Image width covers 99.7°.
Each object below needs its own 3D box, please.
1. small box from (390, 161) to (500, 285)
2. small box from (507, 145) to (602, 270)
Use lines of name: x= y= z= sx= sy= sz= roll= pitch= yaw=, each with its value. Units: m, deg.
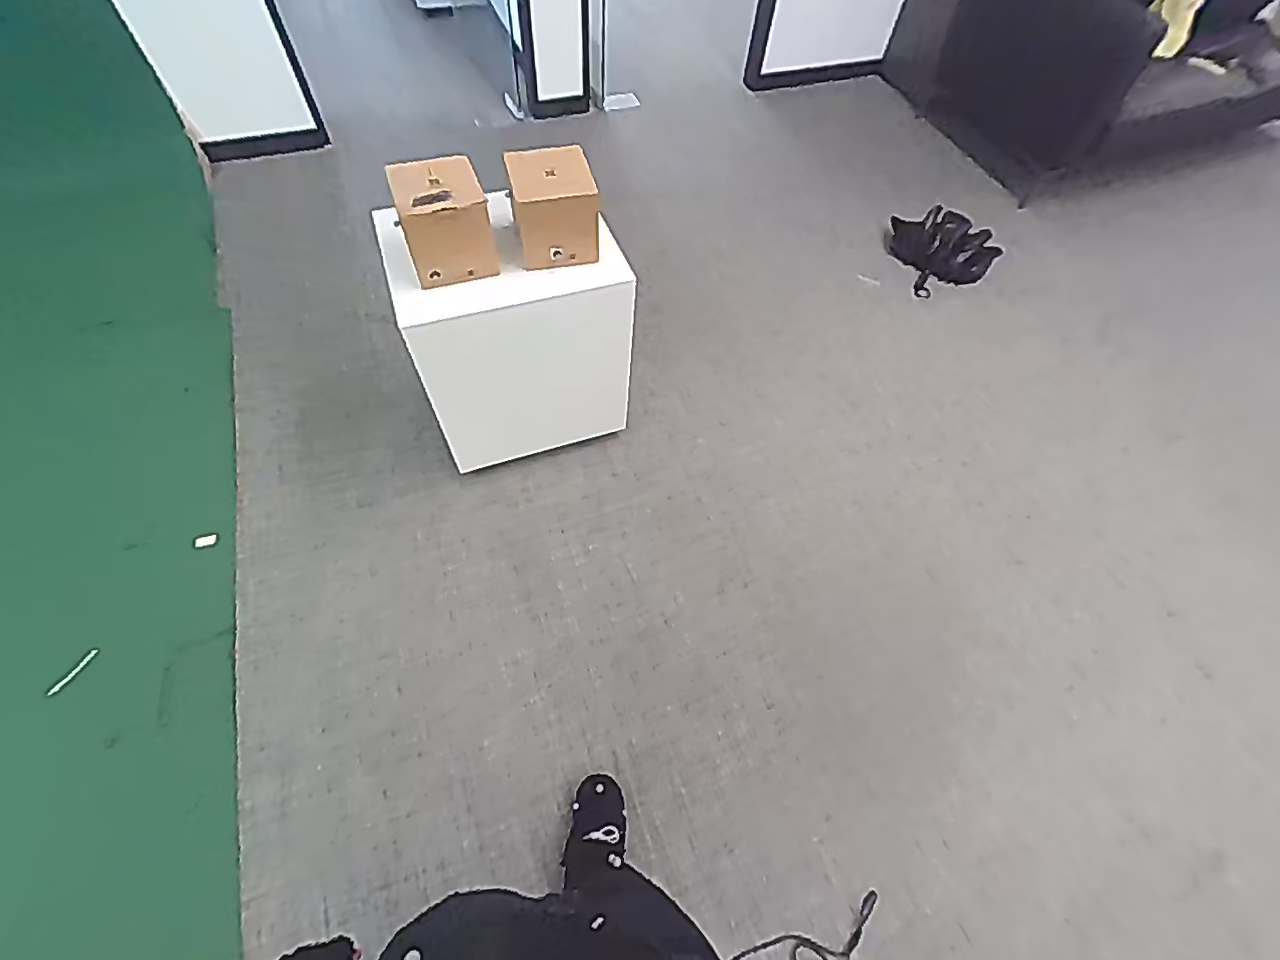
small box: x=-0.402 y=-0.530 z=1.132 sx=0.168 sy=0.176 sz=0.179 roll=-17 pitch=61 yaw=-15
small box: x=-0.182 y=-0.586 z=1.167 sx=0.168 sy=0.176 sz=0.179 roll=-13 pitch=63 yaw=-10
